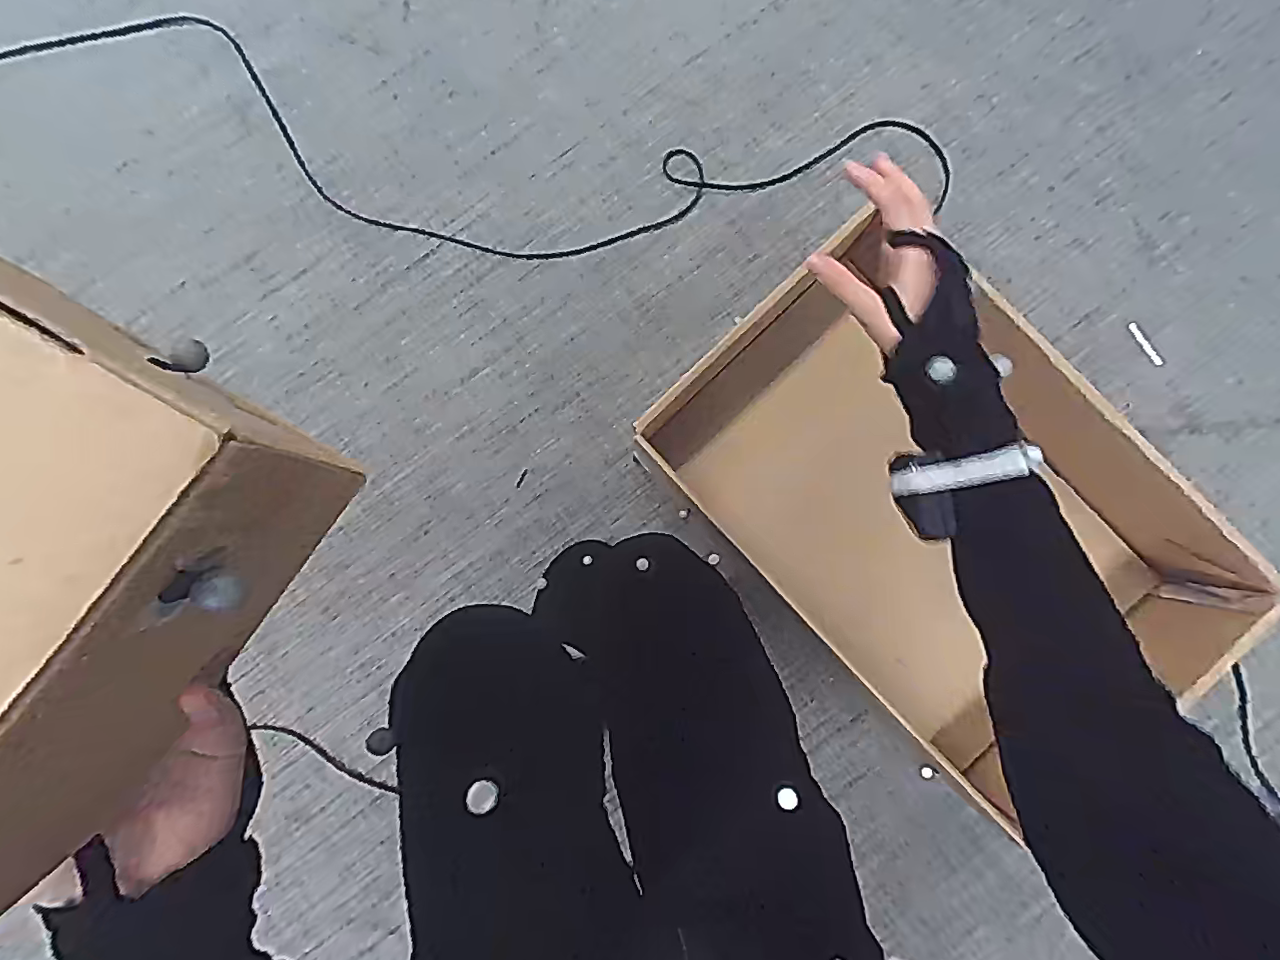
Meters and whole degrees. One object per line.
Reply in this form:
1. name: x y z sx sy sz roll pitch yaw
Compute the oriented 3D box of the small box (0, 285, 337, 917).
1. small box: -0.226 0.031 0.162 0.168 0.176 0.179 33 77 -13
